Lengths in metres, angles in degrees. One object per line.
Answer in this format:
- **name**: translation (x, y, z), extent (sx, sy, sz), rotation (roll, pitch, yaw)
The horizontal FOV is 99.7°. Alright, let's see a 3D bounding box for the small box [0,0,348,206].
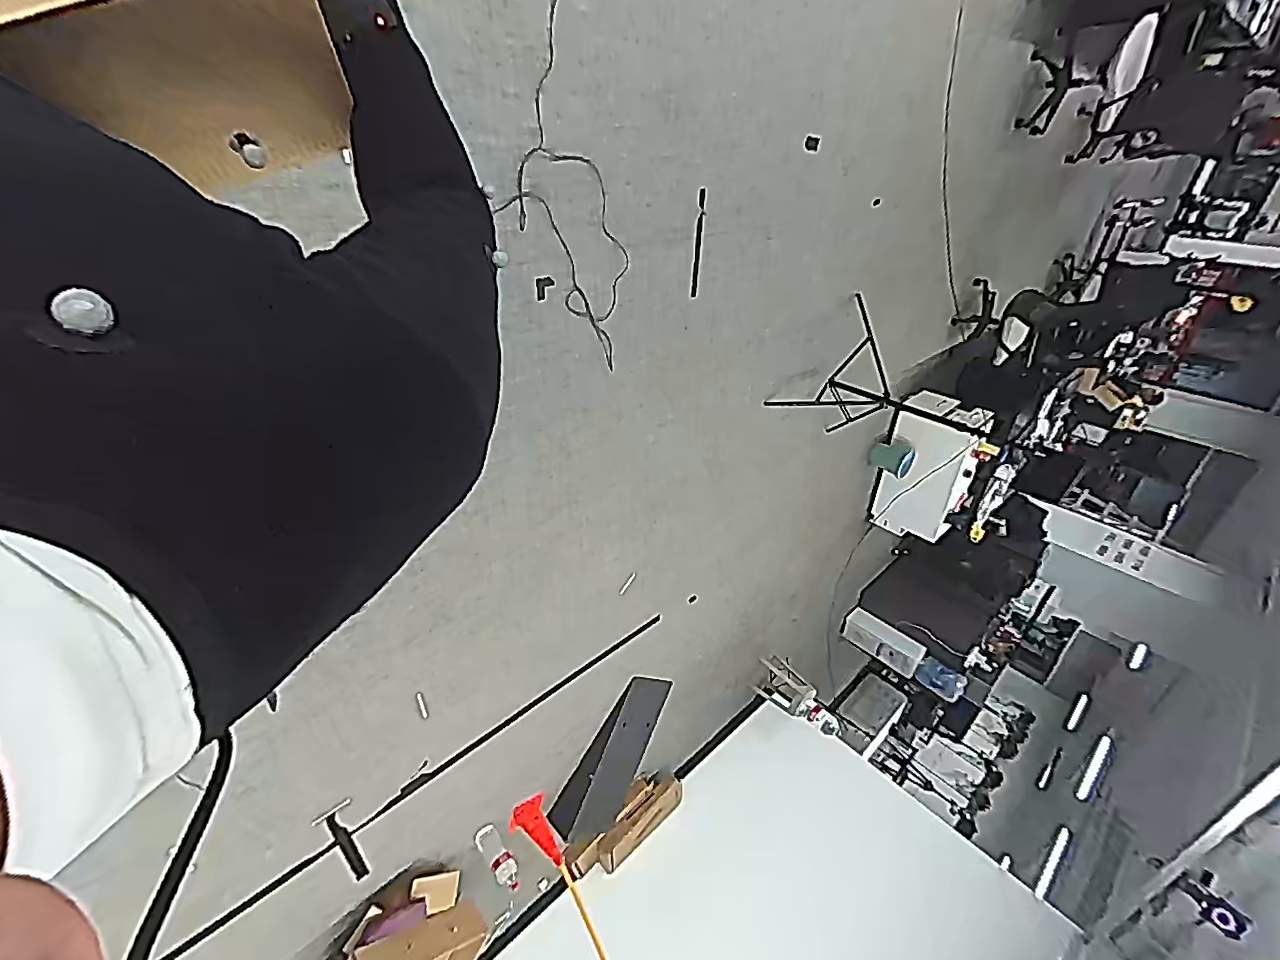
- **small box**: translation (-0.332, -0.331, 0.376), extent (0.179, 0.176, 0.168), rotation (-29, 94, -14)
